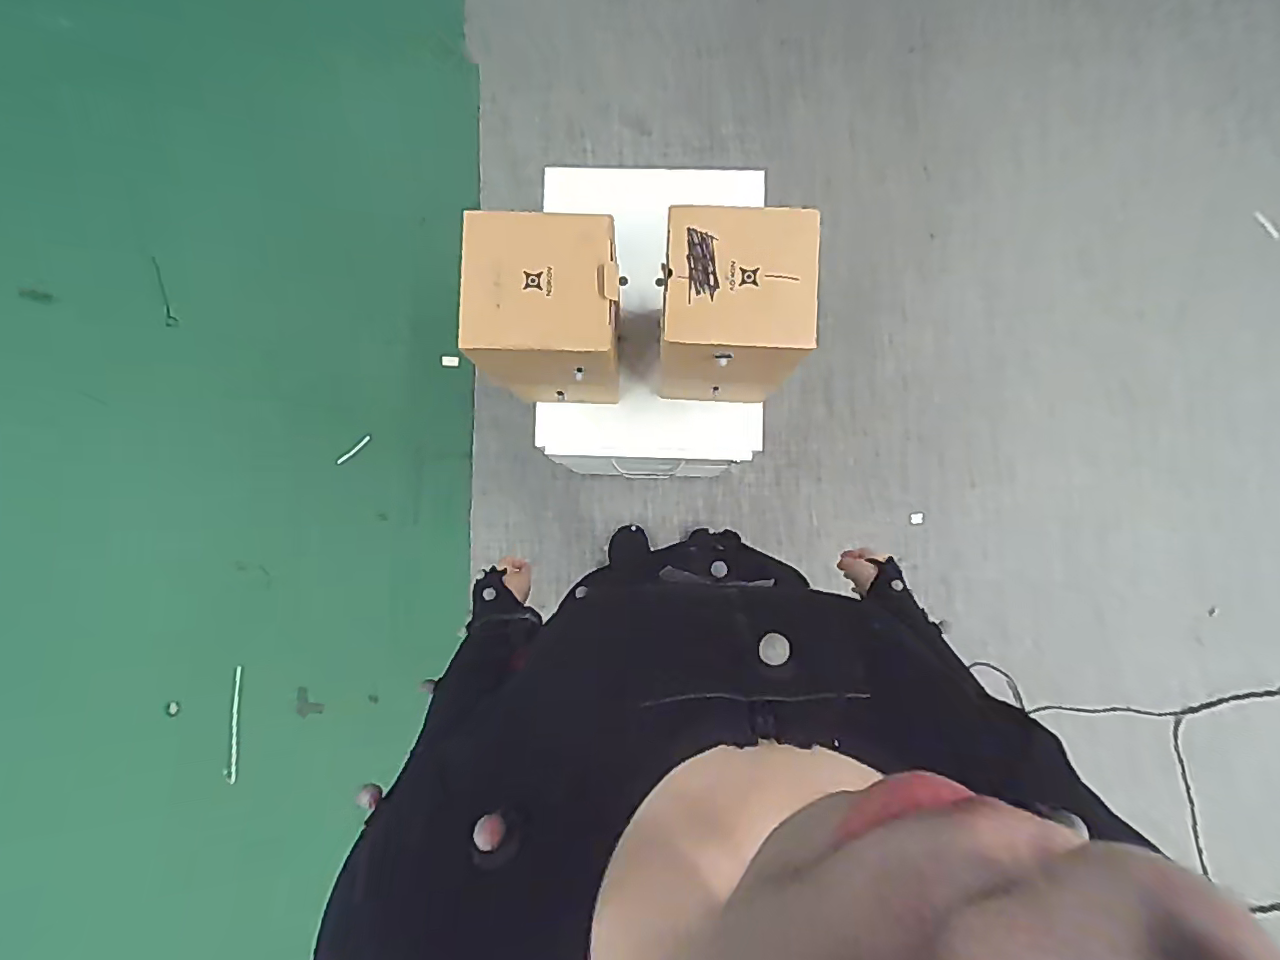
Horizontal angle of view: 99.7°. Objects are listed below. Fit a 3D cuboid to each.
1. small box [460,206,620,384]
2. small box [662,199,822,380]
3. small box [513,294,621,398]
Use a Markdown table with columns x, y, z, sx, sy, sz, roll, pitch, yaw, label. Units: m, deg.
| x | y | z | sx | sy | sz | roll | pitch | yaw | label |
| --- | --- | --- | --- | --- | --- | --- | --- | --- | --- |
| -0.116 | -0.226 | 0.697 | 0.179 | 0.176 | 0.168 | 1 | 85 | 0 | small box |
| 0.119 | -0.231 | 0.693 | 0.179 | 0.176 | 0.168 | 3 | 86 | 2 | small box |
| -0.116 | -0.231 | 0.860 | 0.168 | 0.176 | 0.179 | 2 | 86 | -1 | small box |
